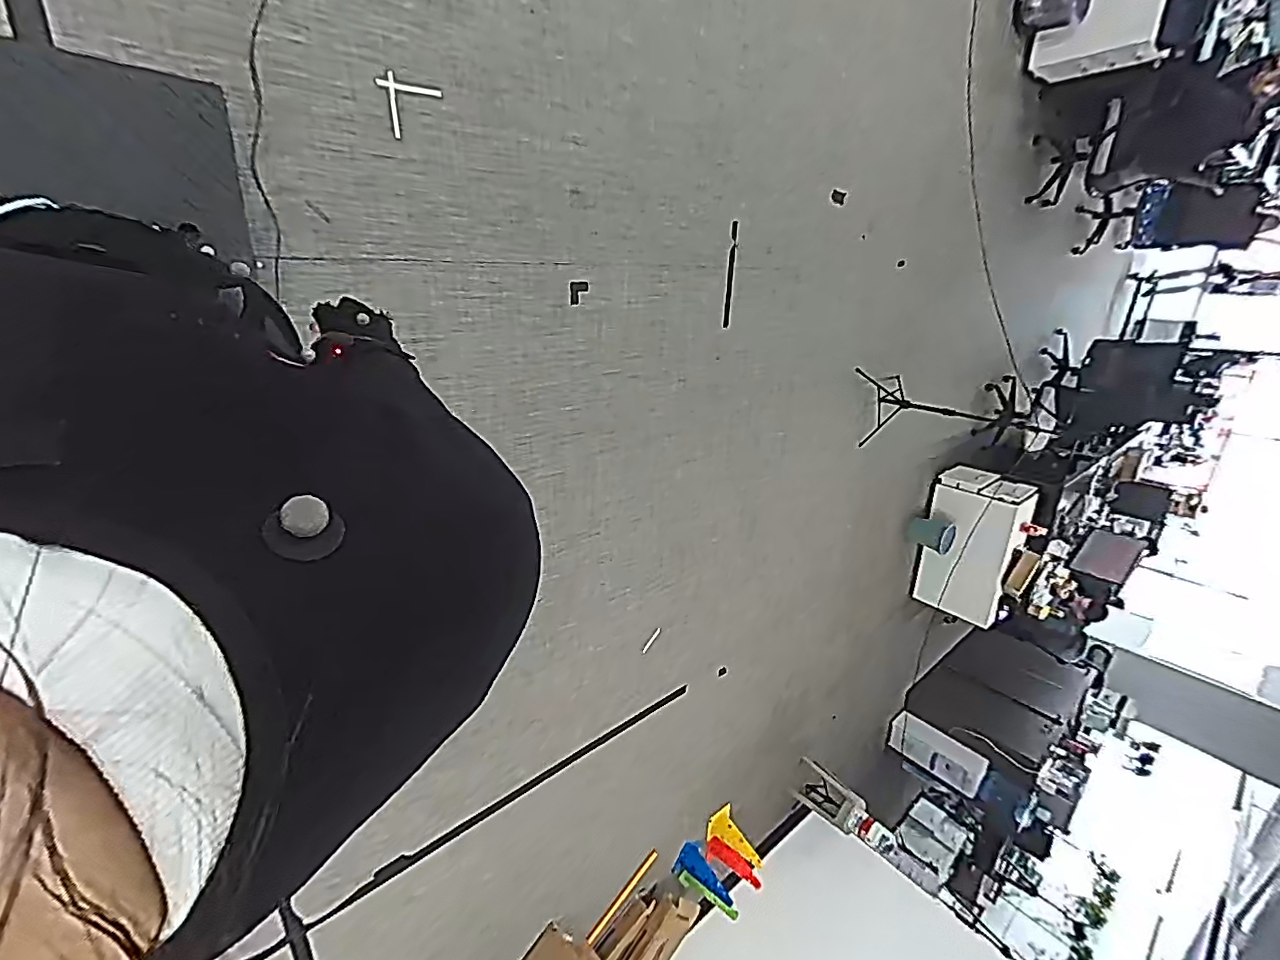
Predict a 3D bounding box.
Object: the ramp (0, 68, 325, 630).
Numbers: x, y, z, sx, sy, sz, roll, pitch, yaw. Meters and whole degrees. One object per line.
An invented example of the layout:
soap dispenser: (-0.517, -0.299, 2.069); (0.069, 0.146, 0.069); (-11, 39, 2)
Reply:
ramp: (-1.003, -0.246, 1.075); (0.509, 0.206, 0.991); (-15, 114, -35)
